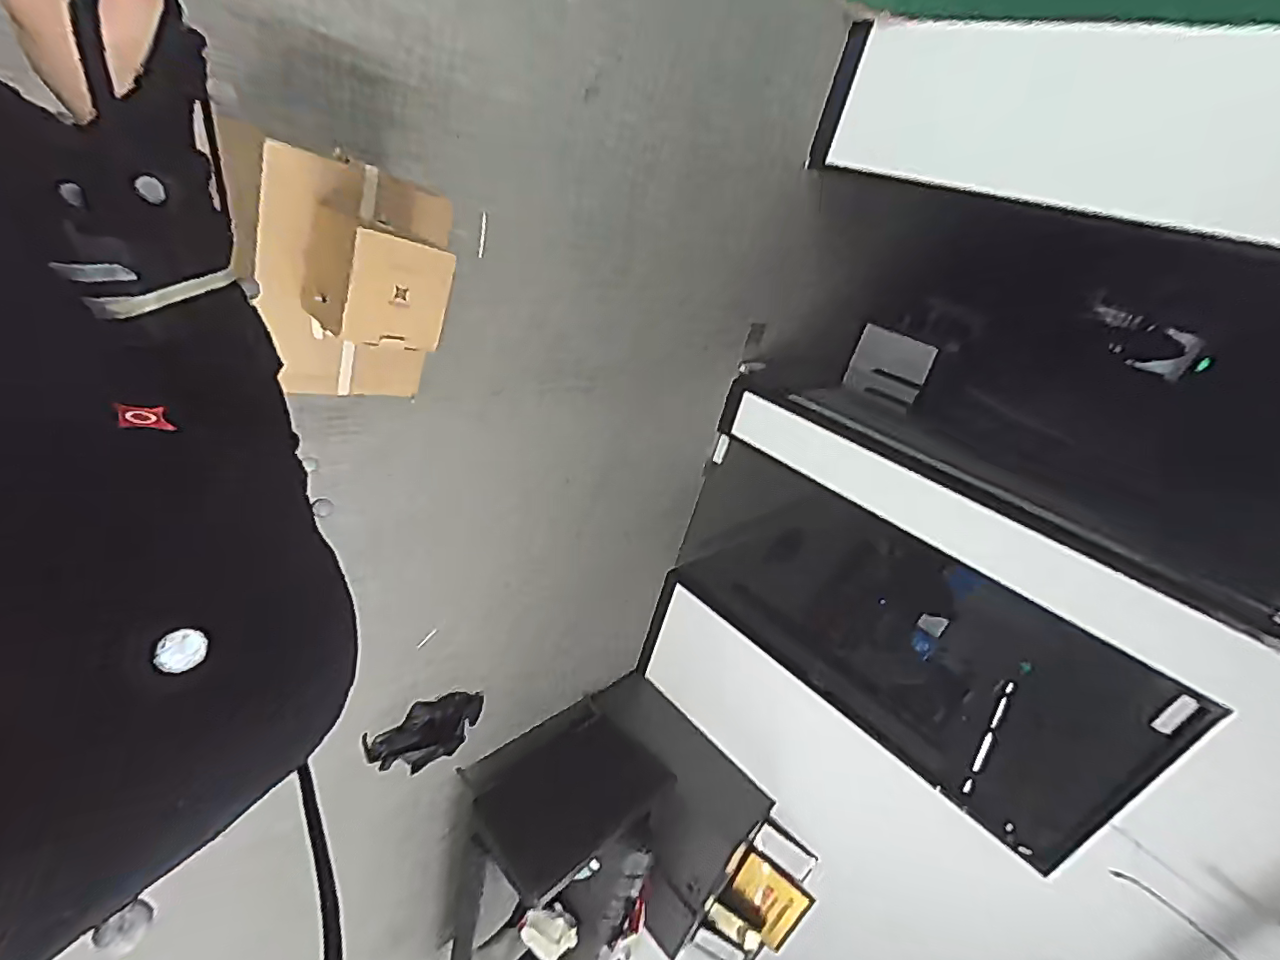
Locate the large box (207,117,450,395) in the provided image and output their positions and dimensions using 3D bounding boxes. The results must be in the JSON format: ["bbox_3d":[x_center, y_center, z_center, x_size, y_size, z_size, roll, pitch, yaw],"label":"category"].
[{"bbox_3d":[-0.622,-0.416,1.064,0.320,0.320,0.408,-6,125,-49],"label":"large box"}]

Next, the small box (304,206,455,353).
[{"bbox_3d":[-0.444,-0.335,0.914,0.168,0.176,0.179,-7,123,-51],"label":"small box"}]
